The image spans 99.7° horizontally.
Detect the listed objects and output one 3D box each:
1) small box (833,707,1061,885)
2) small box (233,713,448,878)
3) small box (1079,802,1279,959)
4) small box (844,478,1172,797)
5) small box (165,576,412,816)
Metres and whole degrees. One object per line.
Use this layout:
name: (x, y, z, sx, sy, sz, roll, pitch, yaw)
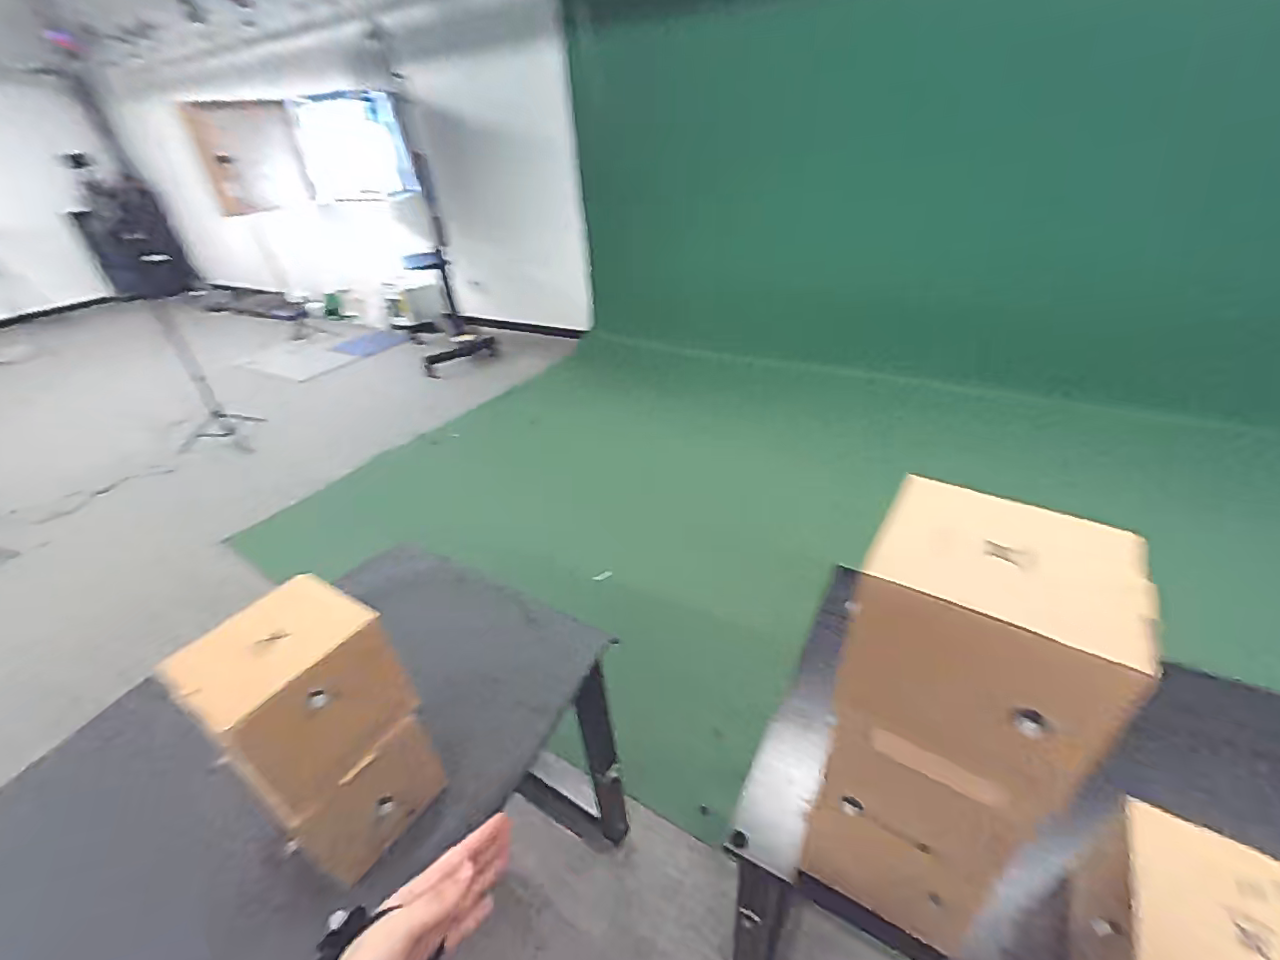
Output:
small box: (0.309, 0.258, 0.555, 0.168, 0.176, 0.179, 18, 39, 30)
small box: (-0.394, 0.396, 0.738, 0.179, 0.176, 0.168, 16, 39, 31)
small box: (0.546, 0.464, 0.509, 0.168, 0.176, 0.179, 18, 39, 30)
small box: (0.294, 0.127, 0.459, 0.179, 0.176, 0.168, 18, 37, 30)
small box: (-0.405, 0.254, 0.658, 0.168, 0.176, 0.179, 15, 39, 30)
